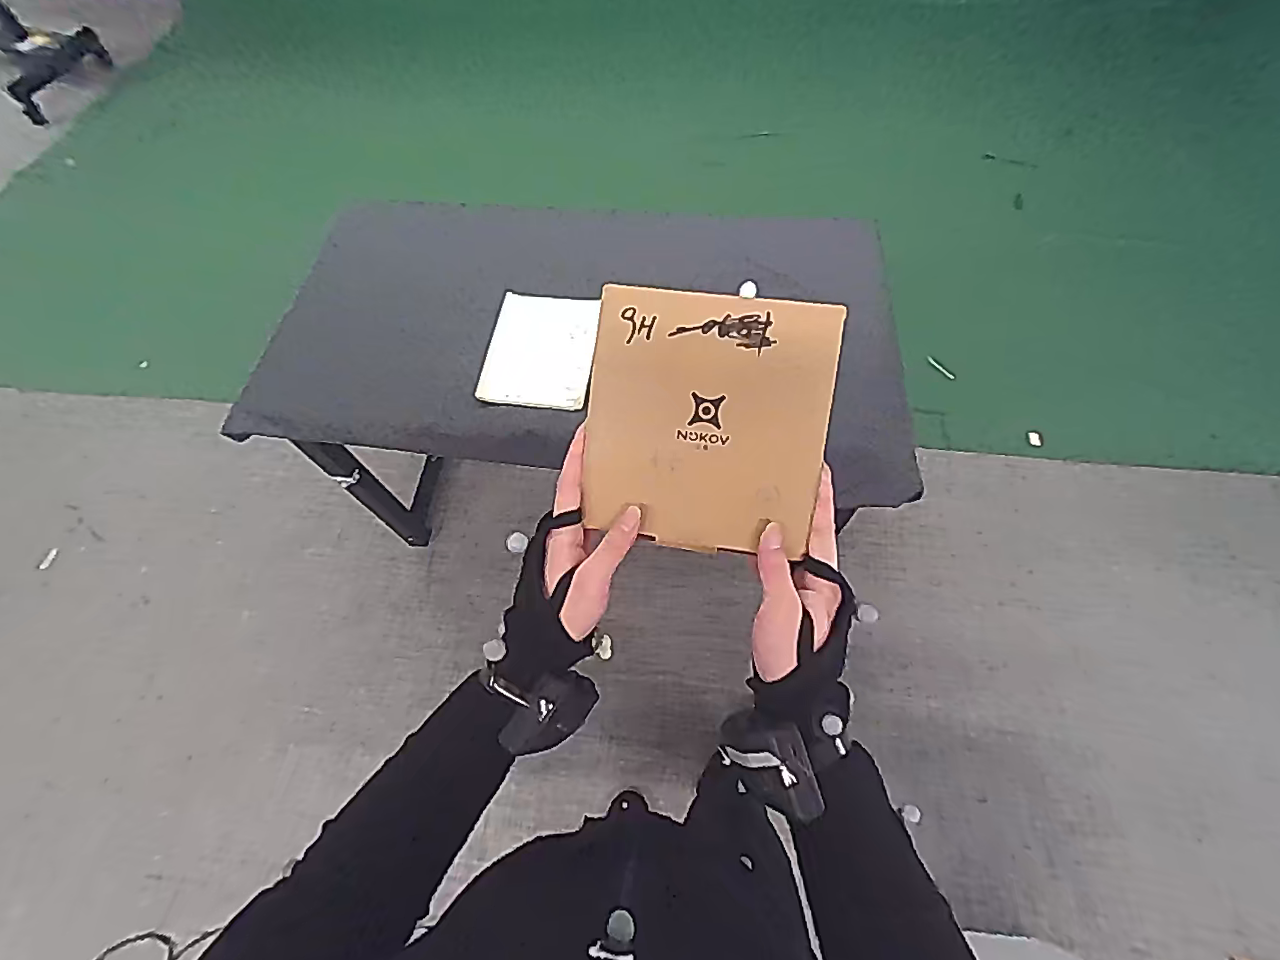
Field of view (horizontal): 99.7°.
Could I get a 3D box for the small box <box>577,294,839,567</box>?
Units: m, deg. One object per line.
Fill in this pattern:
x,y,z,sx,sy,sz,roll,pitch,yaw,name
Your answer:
0.054,-0.044,0.459,0.168,0.176,0.179,8,98,7,small box
